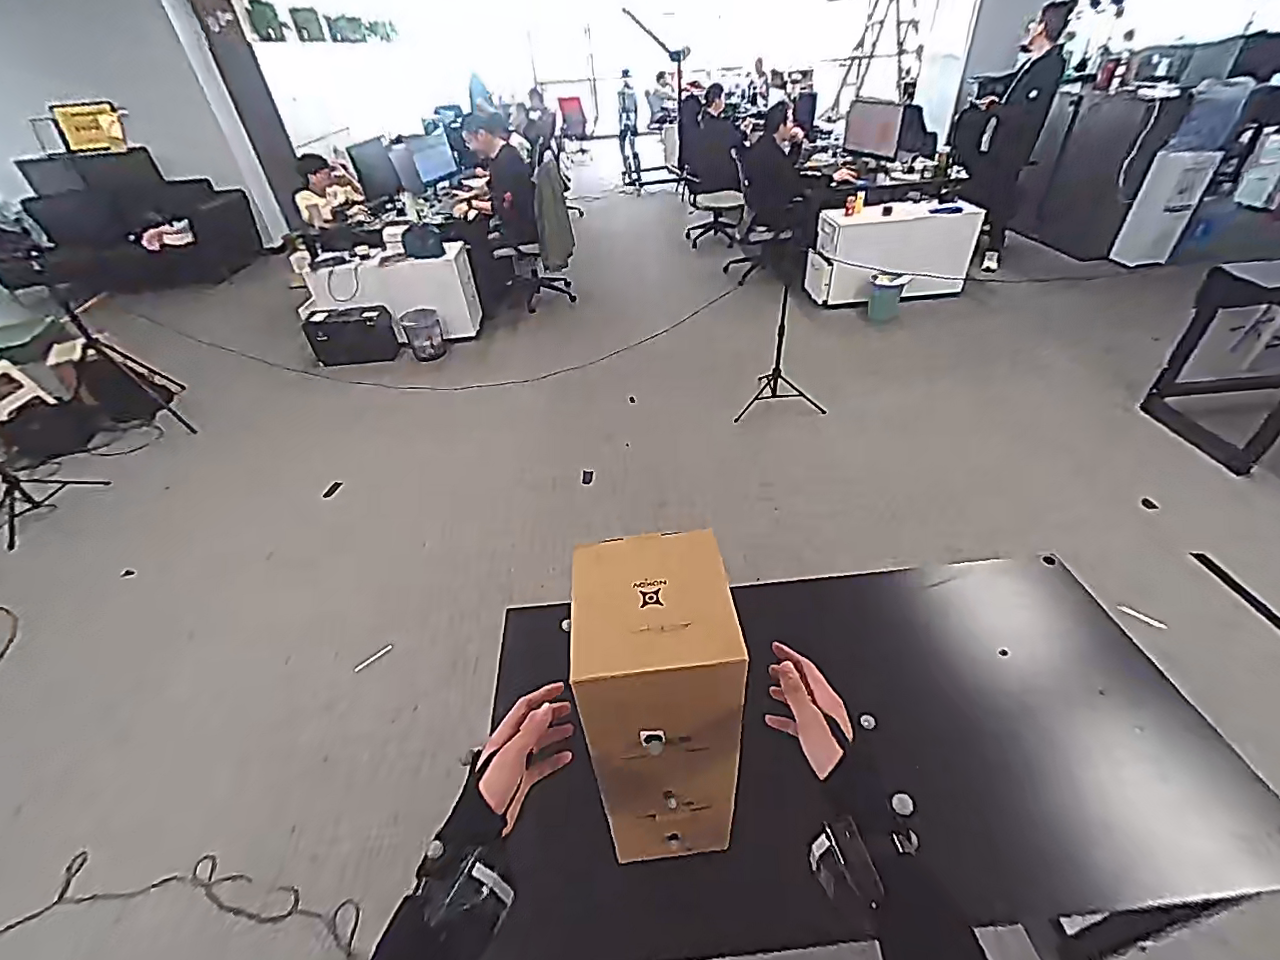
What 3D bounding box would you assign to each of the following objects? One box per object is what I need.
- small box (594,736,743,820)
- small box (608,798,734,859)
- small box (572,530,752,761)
[{"bbox_3d":[0.030,0.306,0.700,0.168,0.176,0.179,-6,39,-1],"label":"small box"},{"bbox_3d":[0.040,0.435,0.802,0.168,0.176,0.179,-6,39,-2],"label":"small box"},{"bbox_3d":[0.019,0.180,0.597,0.168,0.176,0.179,-6,39,-1],"label":"small box"}]
